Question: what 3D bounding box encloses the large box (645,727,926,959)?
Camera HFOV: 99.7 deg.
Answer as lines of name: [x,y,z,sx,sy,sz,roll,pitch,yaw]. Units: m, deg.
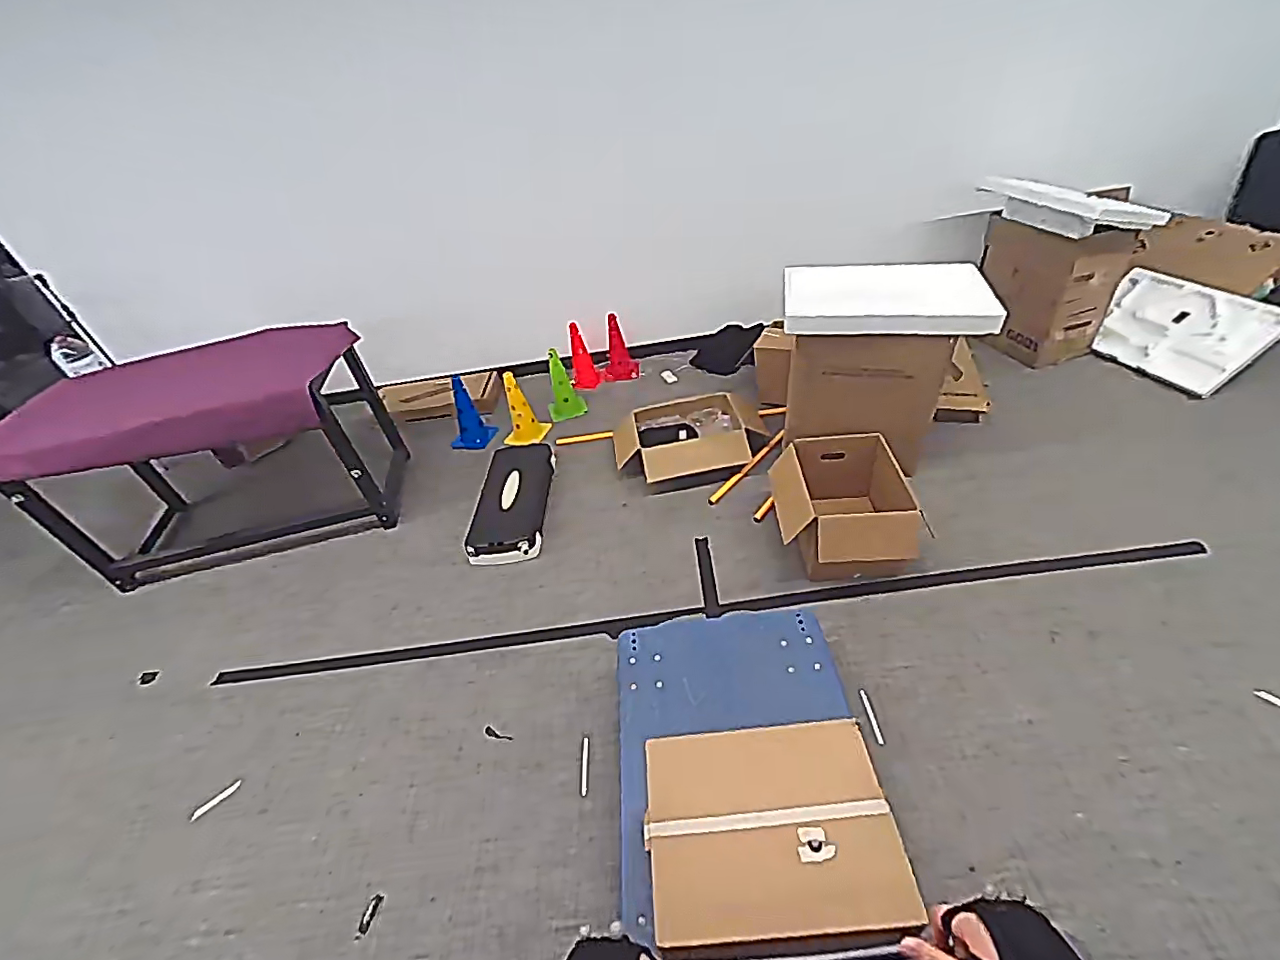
large box: [0.230,0.700,0.996,0.408,0.320,0.320,-7,40,2]
